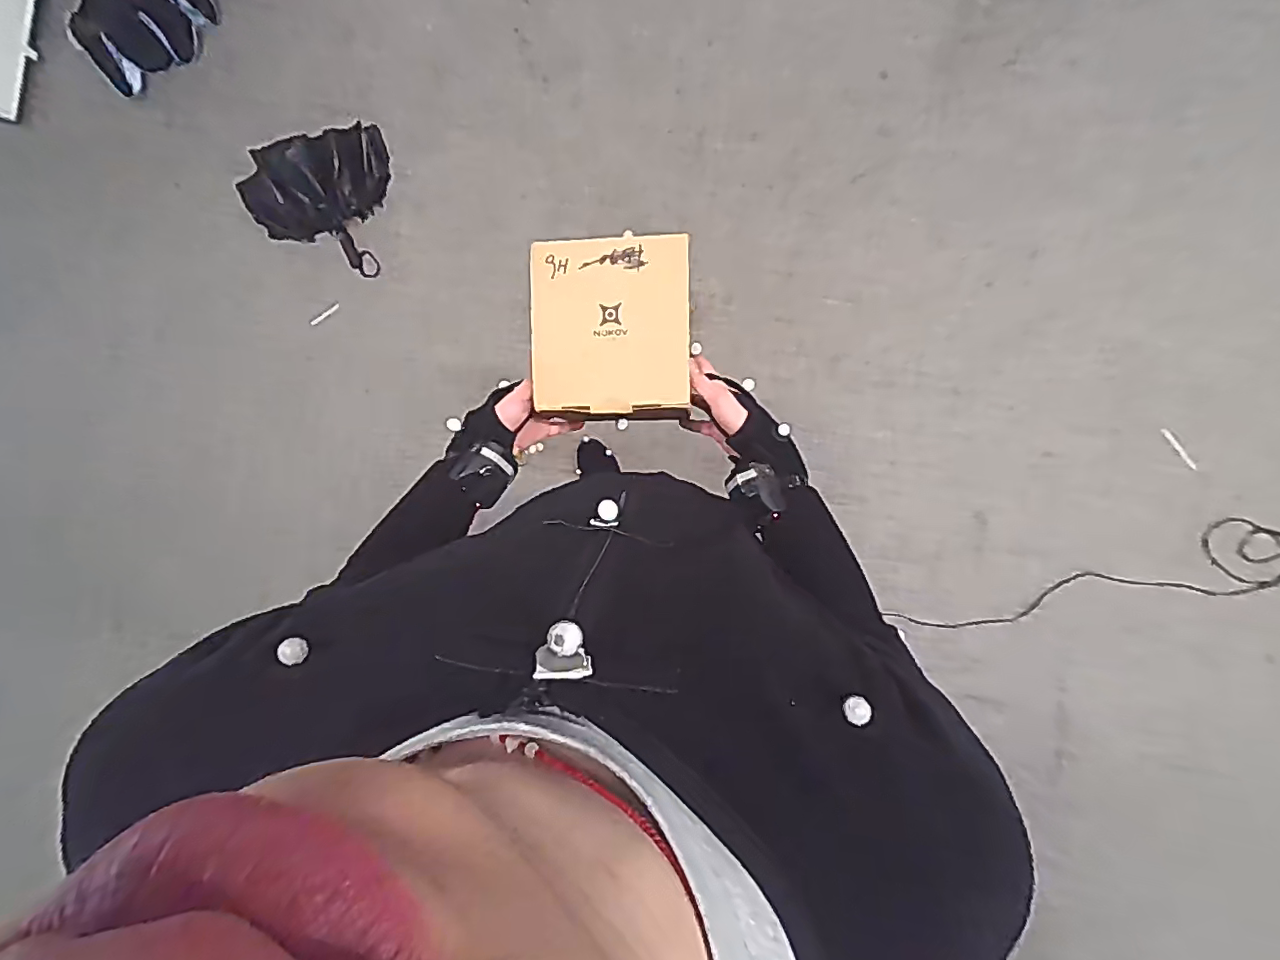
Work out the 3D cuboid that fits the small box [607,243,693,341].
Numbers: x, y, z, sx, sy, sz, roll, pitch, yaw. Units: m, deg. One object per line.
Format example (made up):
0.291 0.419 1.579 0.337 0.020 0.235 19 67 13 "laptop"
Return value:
0.030 -0.491 1.451 0.168 0.176 0.179 -30 90 3 "small box"
